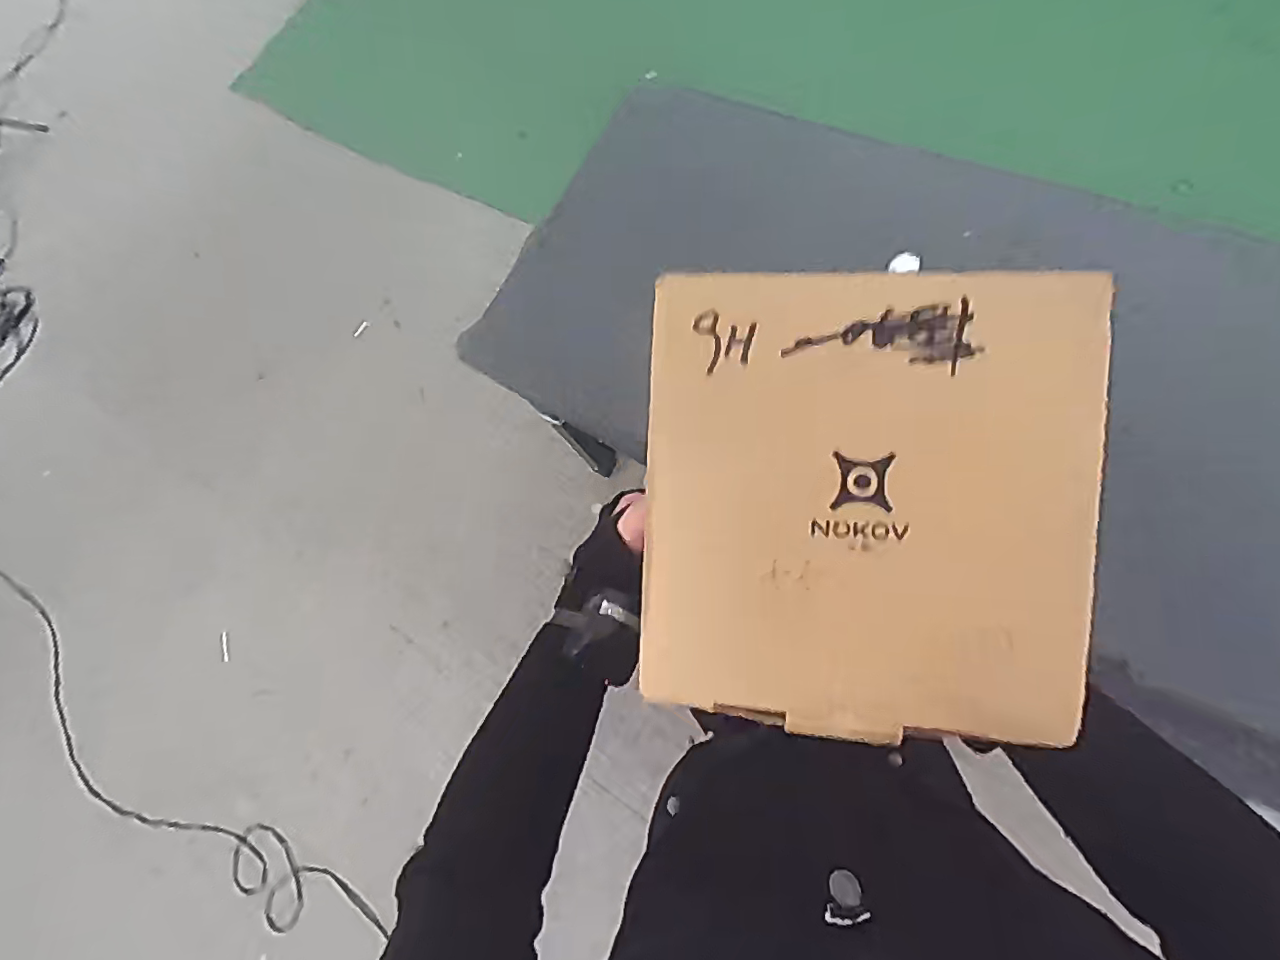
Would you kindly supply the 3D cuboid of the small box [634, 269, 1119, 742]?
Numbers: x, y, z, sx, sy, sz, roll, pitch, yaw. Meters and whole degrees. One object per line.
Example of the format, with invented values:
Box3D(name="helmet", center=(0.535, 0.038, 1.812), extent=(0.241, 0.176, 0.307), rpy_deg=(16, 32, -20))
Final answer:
Box3D(name="small box", center=(0.094, 0.002, 0.286), extent=(0.168, 0.176, 0.179), rpy_deg=(3, 94, 8))
